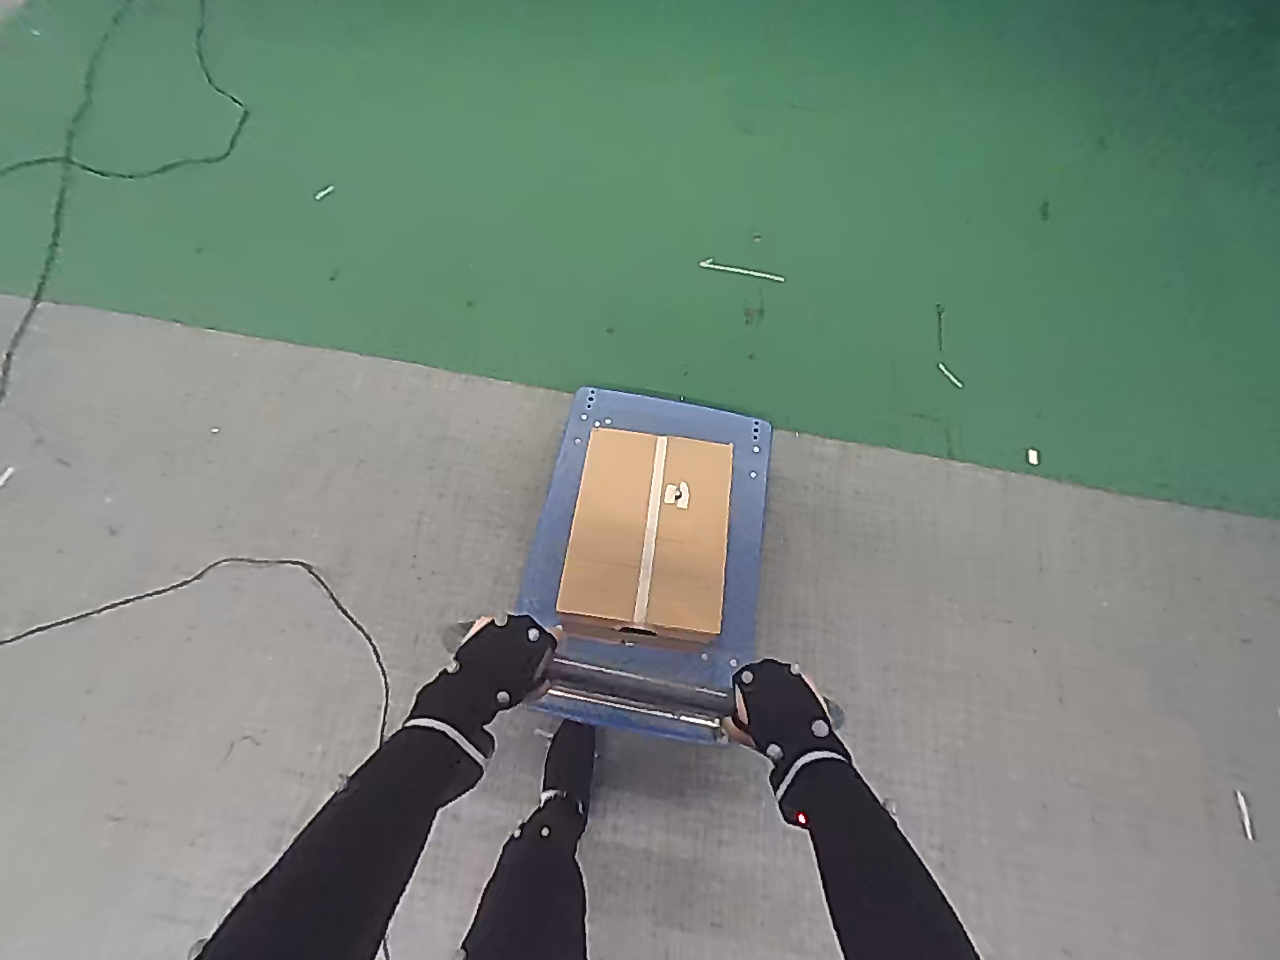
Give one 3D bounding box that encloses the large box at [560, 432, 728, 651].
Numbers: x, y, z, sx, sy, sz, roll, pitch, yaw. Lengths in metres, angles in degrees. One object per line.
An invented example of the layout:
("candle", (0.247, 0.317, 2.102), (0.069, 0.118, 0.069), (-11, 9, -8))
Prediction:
("large box", (0.014, 0.154, 1.234), (0.320, 0.320, 0.408), (8, 65, 0))
